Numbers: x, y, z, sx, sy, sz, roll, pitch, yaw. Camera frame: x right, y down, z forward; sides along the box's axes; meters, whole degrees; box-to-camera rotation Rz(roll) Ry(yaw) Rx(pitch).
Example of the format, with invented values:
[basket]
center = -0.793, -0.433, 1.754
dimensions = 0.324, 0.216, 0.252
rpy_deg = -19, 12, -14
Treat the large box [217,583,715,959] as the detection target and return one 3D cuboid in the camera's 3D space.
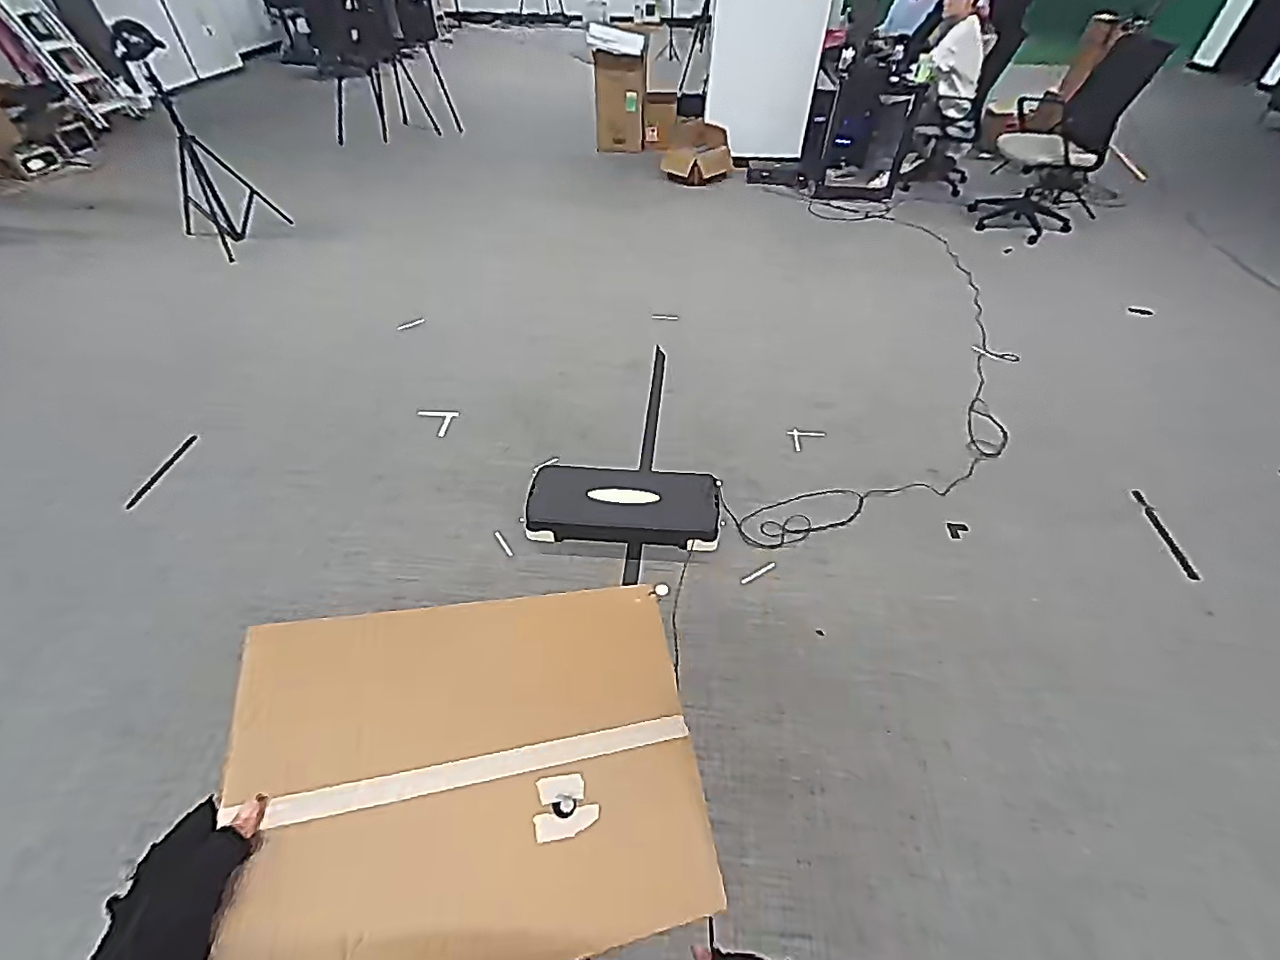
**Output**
[large box]
center = -0.188, 0.340, 0.624
dimensions = 0.408, 0.320, 0.320
rpy_deg = -2, 60, -21
